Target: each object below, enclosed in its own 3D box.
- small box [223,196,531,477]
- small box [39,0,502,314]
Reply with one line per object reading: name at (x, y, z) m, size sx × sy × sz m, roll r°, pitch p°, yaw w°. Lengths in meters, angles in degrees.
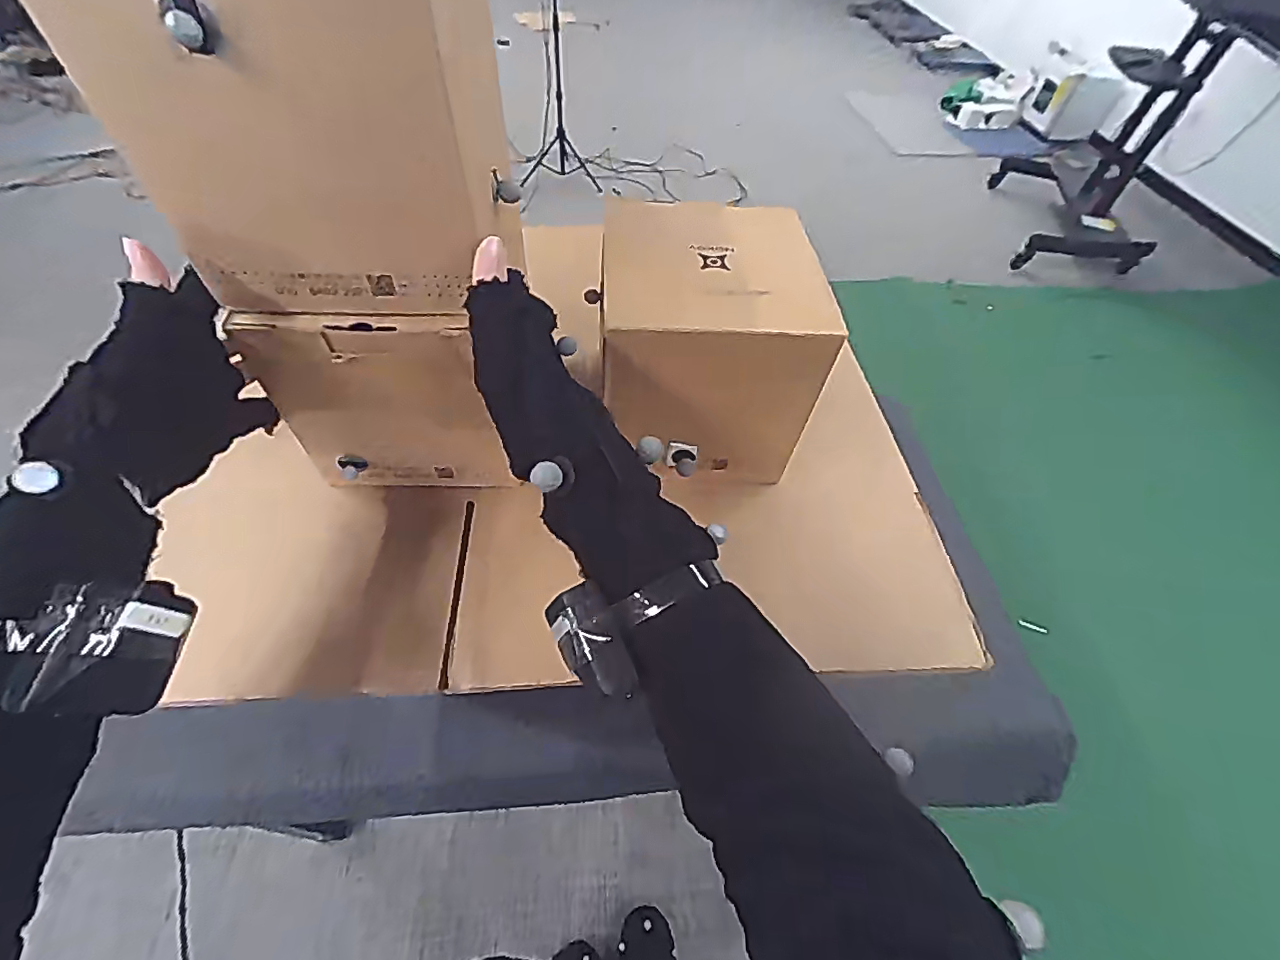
small box at (-0.187, -0.117, 0.455) m, size 0.168 × 0.176 × 0.179 m, roll 1°, pitch 53°, yaw -4°
small box at (-0.184, -0.225, 0.332) m, size 0.168 × 0.176 × 0.179 m, roll -1°, pitch 53°, yaw -4°
